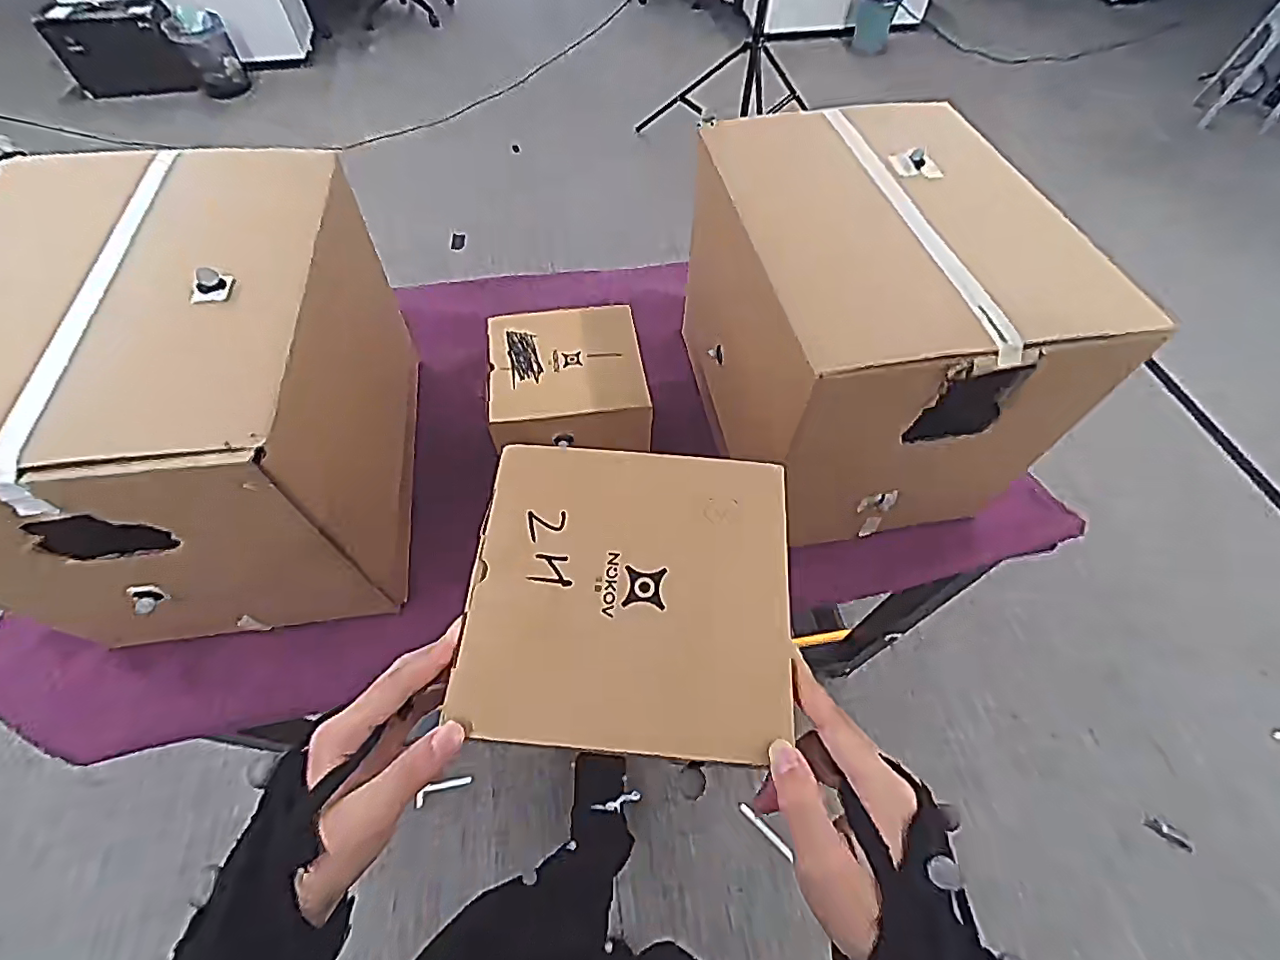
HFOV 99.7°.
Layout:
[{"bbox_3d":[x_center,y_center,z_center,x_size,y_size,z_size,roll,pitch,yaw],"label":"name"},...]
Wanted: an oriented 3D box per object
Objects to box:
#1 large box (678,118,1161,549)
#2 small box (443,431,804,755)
[{"bbox_3d":[0.245,-0.173,0.658,0.320,0.320,0.408,-8,56,-7],"label":"large box"},{"bbox_3d":[-0.002,0.086,0.364,0.179,0.176,0.168,4,61,3],"label":"small box"}]
